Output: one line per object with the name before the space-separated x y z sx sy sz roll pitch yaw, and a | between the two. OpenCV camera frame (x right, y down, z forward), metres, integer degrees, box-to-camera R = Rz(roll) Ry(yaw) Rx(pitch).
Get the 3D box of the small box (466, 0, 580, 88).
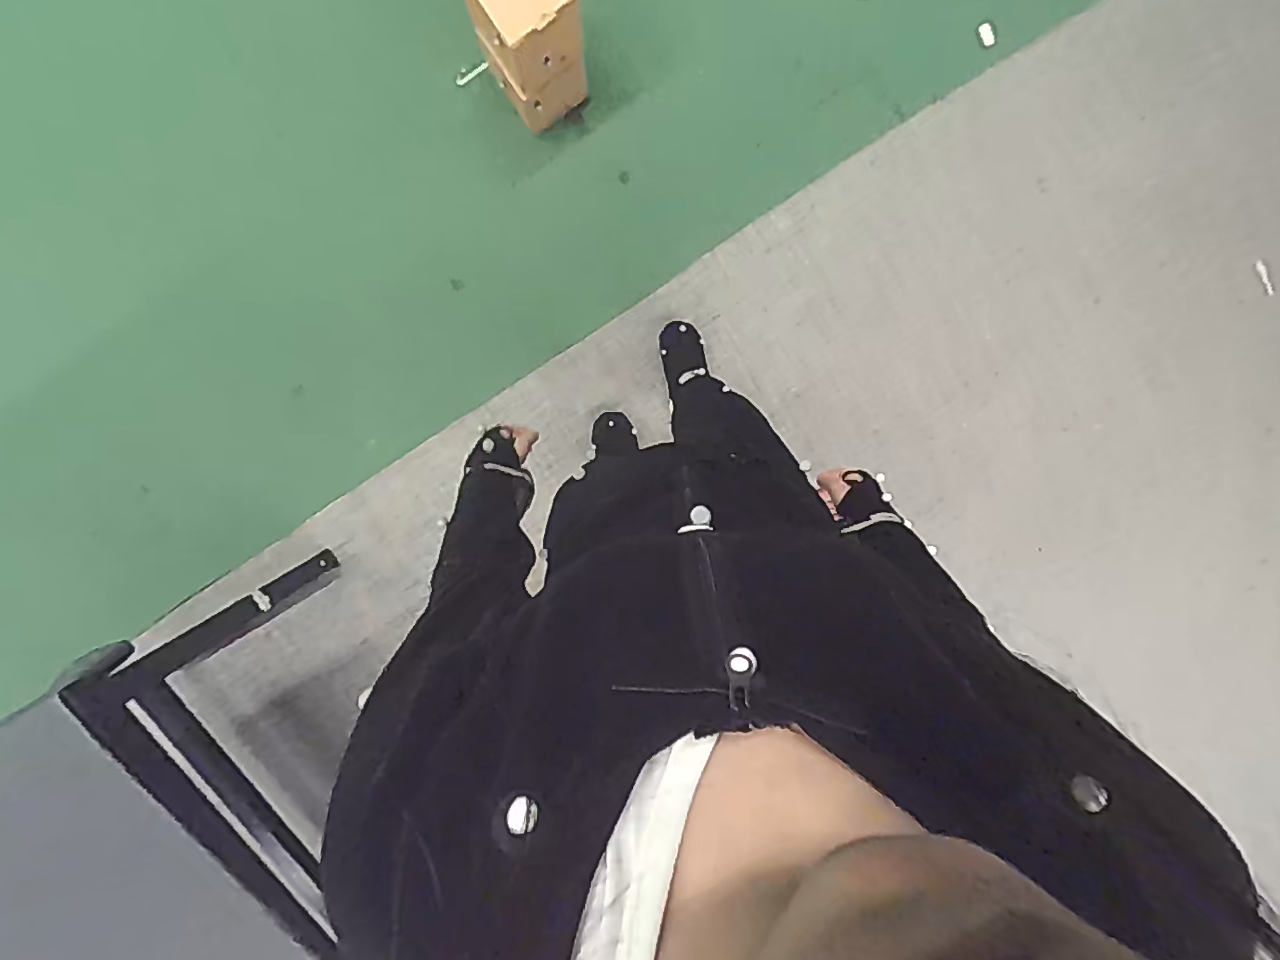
small box | -0.234 -0.930 1.057 0.168 0.176 0.179 -37 100 3
